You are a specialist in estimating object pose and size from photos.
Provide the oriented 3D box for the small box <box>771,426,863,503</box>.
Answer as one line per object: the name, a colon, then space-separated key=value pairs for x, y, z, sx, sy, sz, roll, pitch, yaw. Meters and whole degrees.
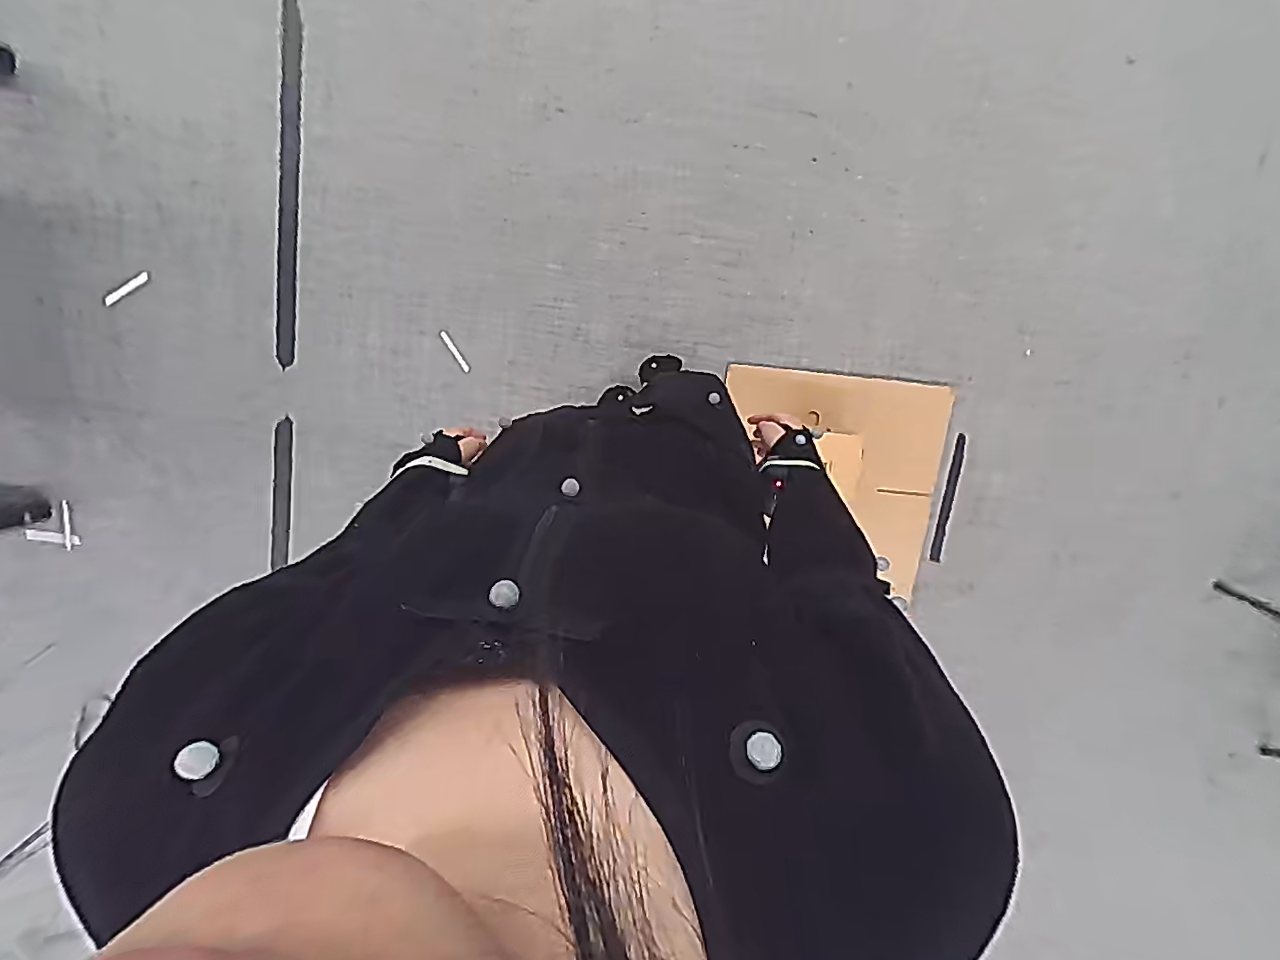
small box: x=0.444 y=-0.045 z=1.389 sx=0.179 sy=0.176 sz=0.168 roll=5 pitch=102 yaw=0
